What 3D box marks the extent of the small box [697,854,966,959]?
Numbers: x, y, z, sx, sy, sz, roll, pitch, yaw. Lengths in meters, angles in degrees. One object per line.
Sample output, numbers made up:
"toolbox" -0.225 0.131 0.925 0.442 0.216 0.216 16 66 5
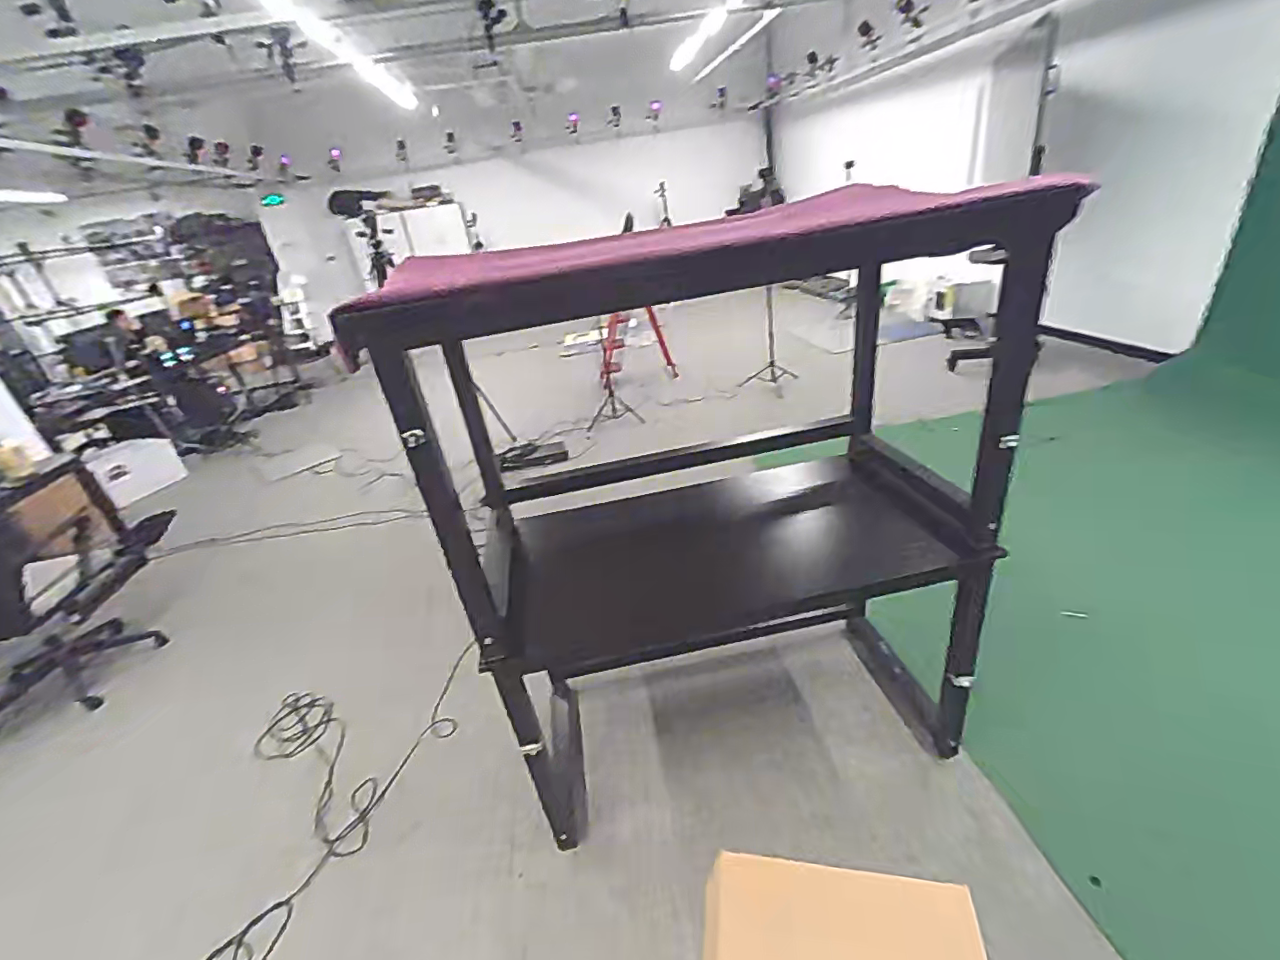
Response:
"small box" 0.122 0.392 0.376 0.168 0.176 0.179 3 46 7
